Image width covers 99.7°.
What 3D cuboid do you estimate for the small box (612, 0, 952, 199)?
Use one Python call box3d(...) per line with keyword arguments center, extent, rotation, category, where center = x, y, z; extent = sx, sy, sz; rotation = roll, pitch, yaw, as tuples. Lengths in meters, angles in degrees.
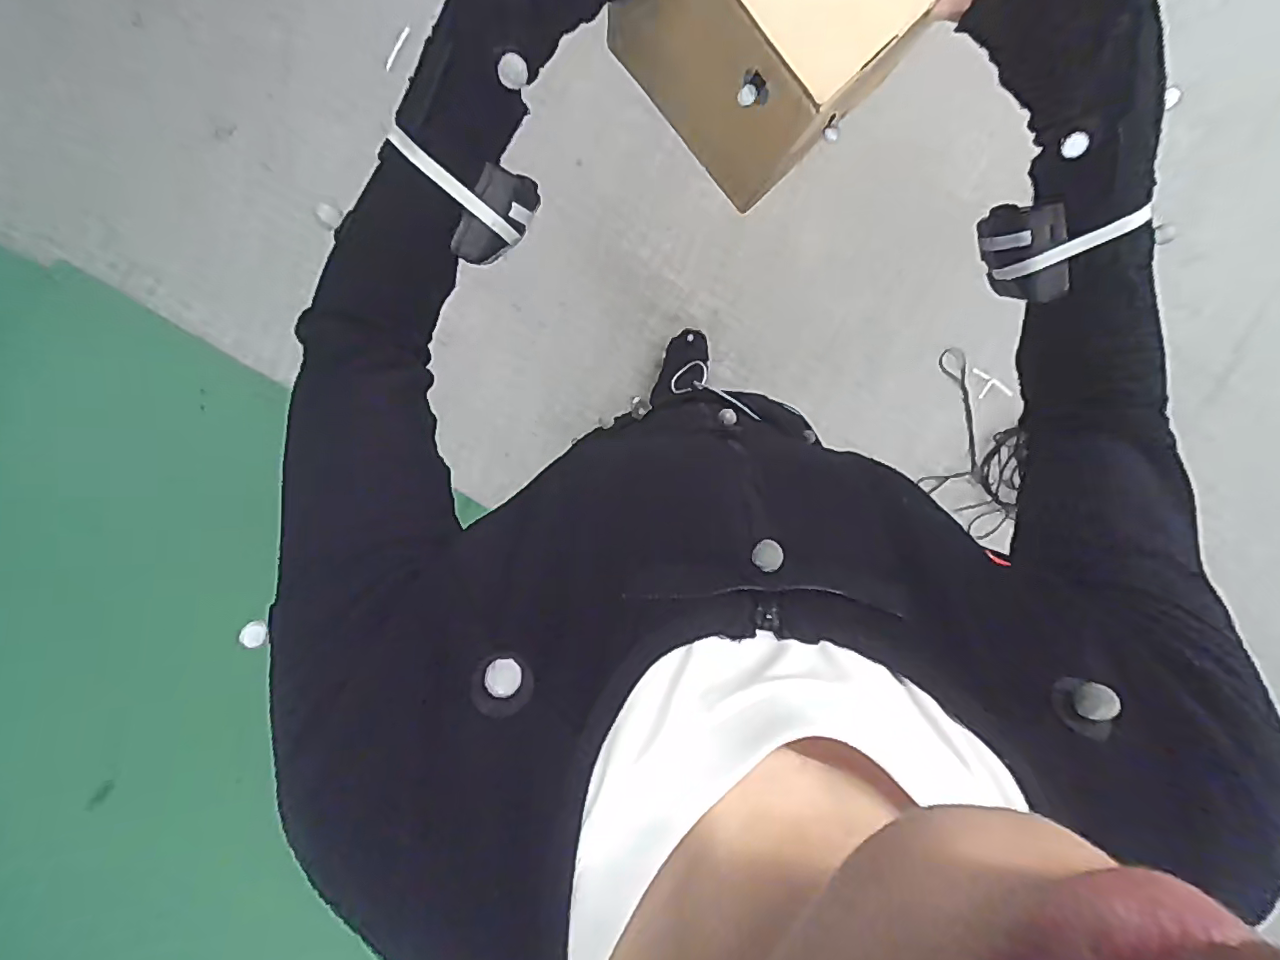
box3d(center=(0.094, -0.341, 0.377), extent=(0.168, 0.176, 0.179), rotation=(-42, 100, 1), category="small box")
